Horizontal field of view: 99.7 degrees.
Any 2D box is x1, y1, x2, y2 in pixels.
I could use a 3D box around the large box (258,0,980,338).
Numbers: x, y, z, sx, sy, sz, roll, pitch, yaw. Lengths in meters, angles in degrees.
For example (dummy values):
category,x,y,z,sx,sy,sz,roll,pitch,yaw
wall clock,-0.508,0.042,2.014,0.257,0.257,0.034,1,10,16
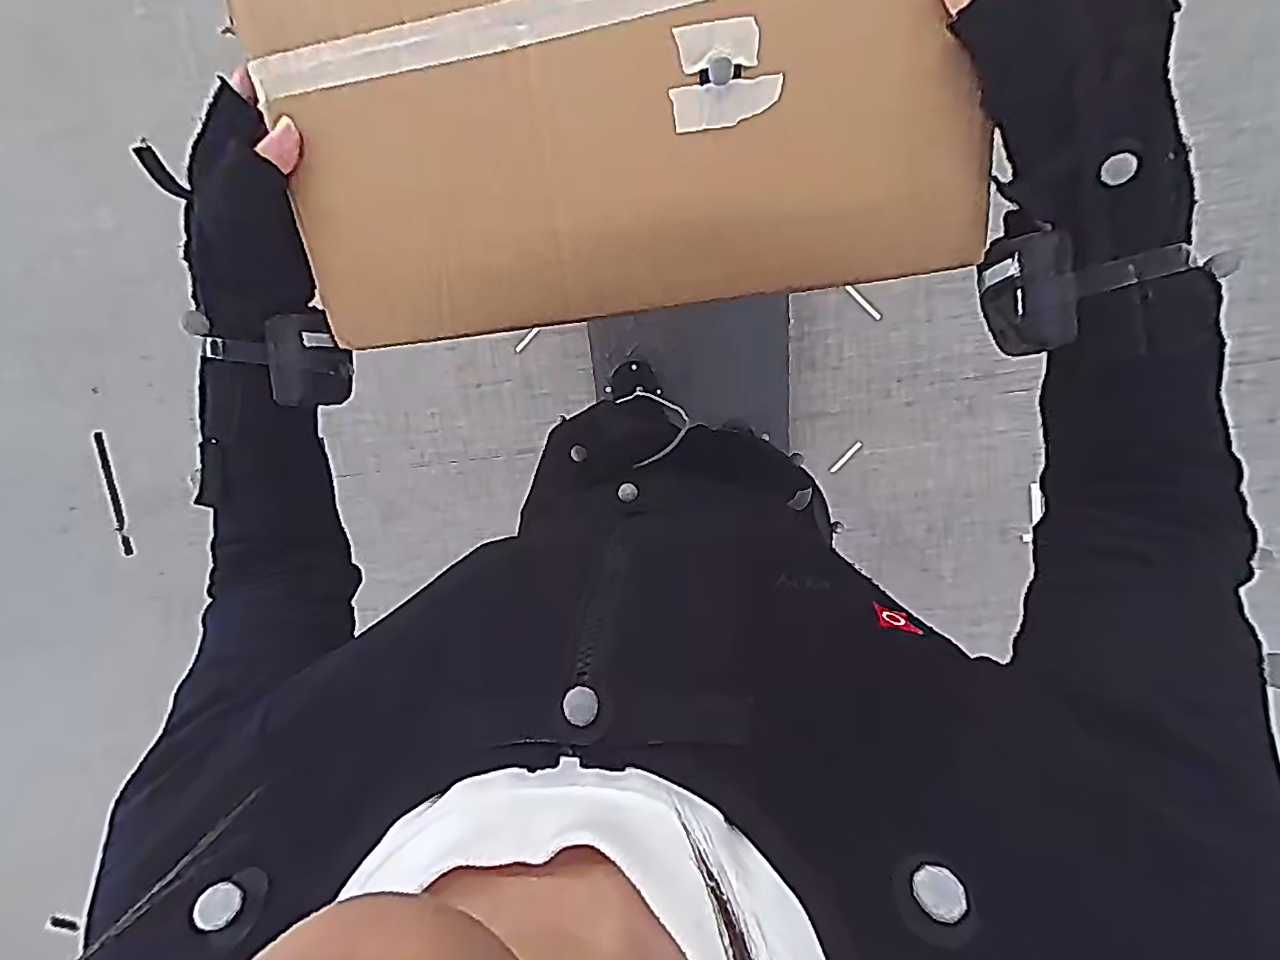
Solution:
category,x,y,z,sx,sy,sz,roll,pitch,yaw
large box,-0.008,-0.310,0.437,0.408,0.320,0.320,-5,109,9
